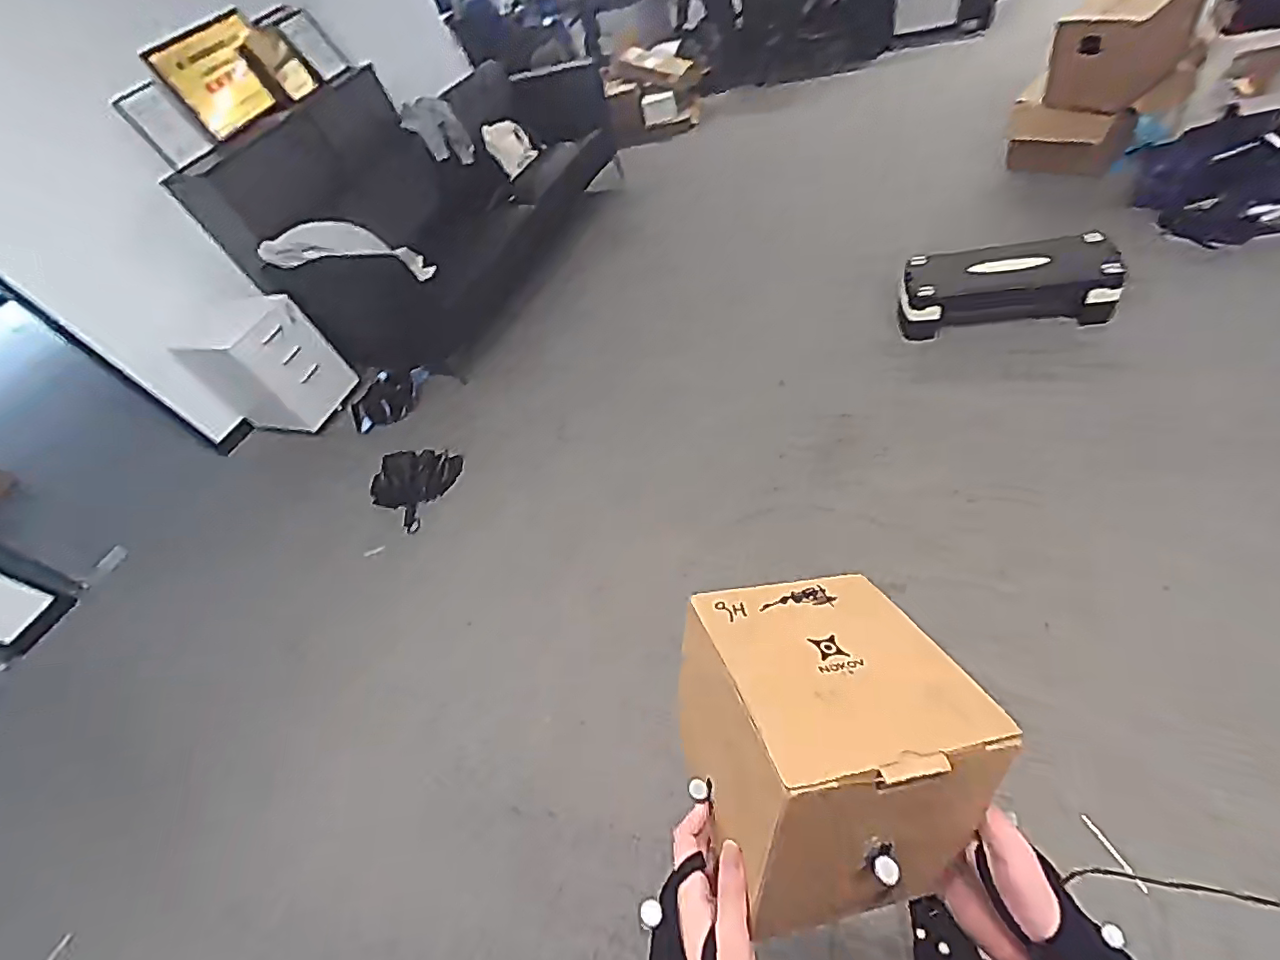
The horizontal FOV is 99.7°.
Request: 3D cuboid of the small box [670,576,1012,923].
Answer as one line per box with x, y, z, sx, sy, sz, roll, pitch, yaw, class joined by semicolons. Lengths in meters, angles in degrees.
0.127;0.201;0.421;0.168;0.176;0.179;-3;29;-13;small box
